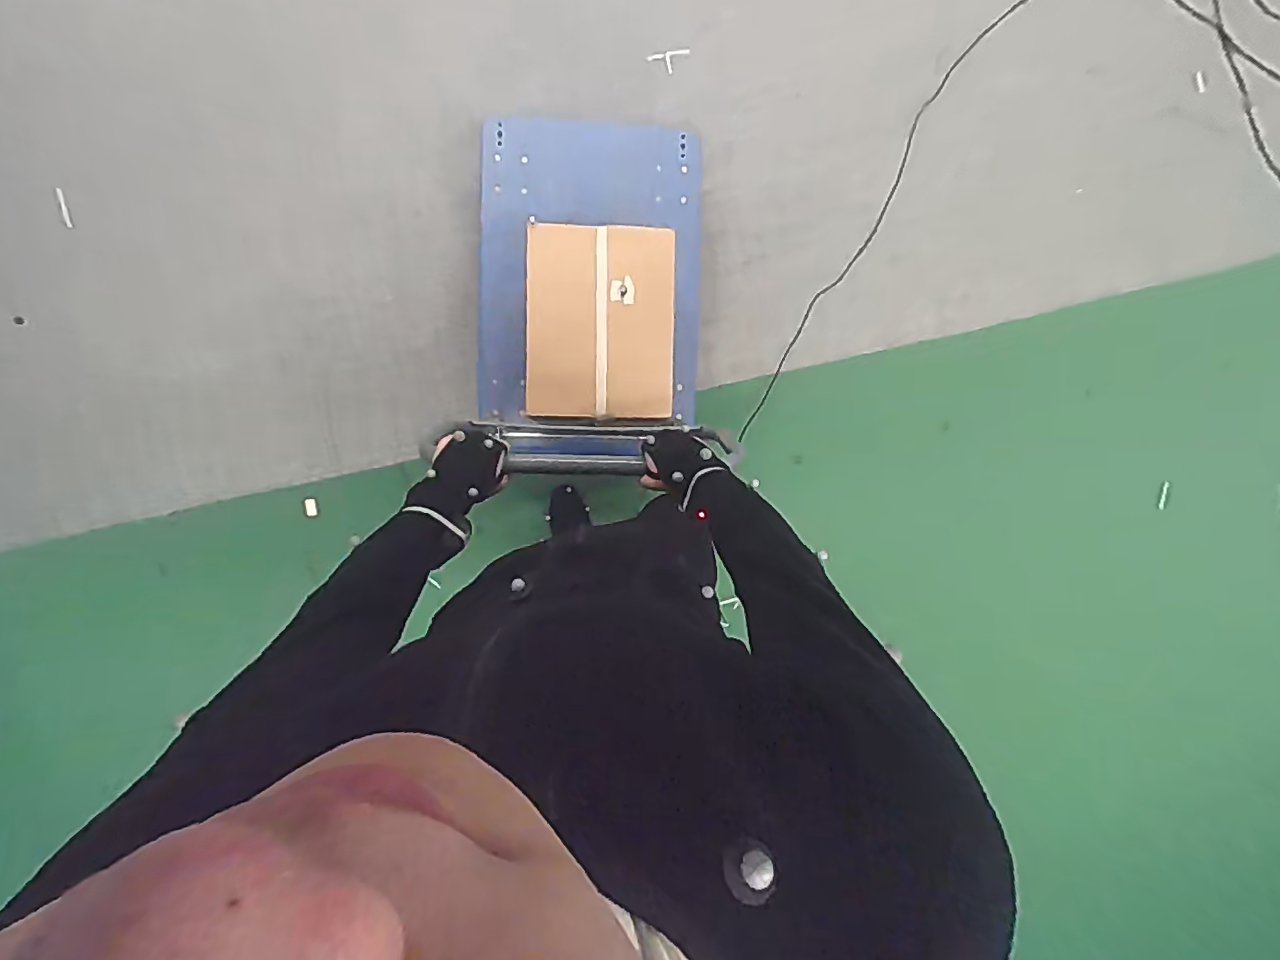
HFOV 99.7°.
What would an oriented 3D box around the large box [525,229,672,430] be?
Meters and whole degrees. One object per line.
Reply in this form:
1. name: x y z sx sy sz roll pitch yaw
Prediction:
1. large box: -0.099 -0.332 1.300 0.320 0.320 0.408 0 91 -6
